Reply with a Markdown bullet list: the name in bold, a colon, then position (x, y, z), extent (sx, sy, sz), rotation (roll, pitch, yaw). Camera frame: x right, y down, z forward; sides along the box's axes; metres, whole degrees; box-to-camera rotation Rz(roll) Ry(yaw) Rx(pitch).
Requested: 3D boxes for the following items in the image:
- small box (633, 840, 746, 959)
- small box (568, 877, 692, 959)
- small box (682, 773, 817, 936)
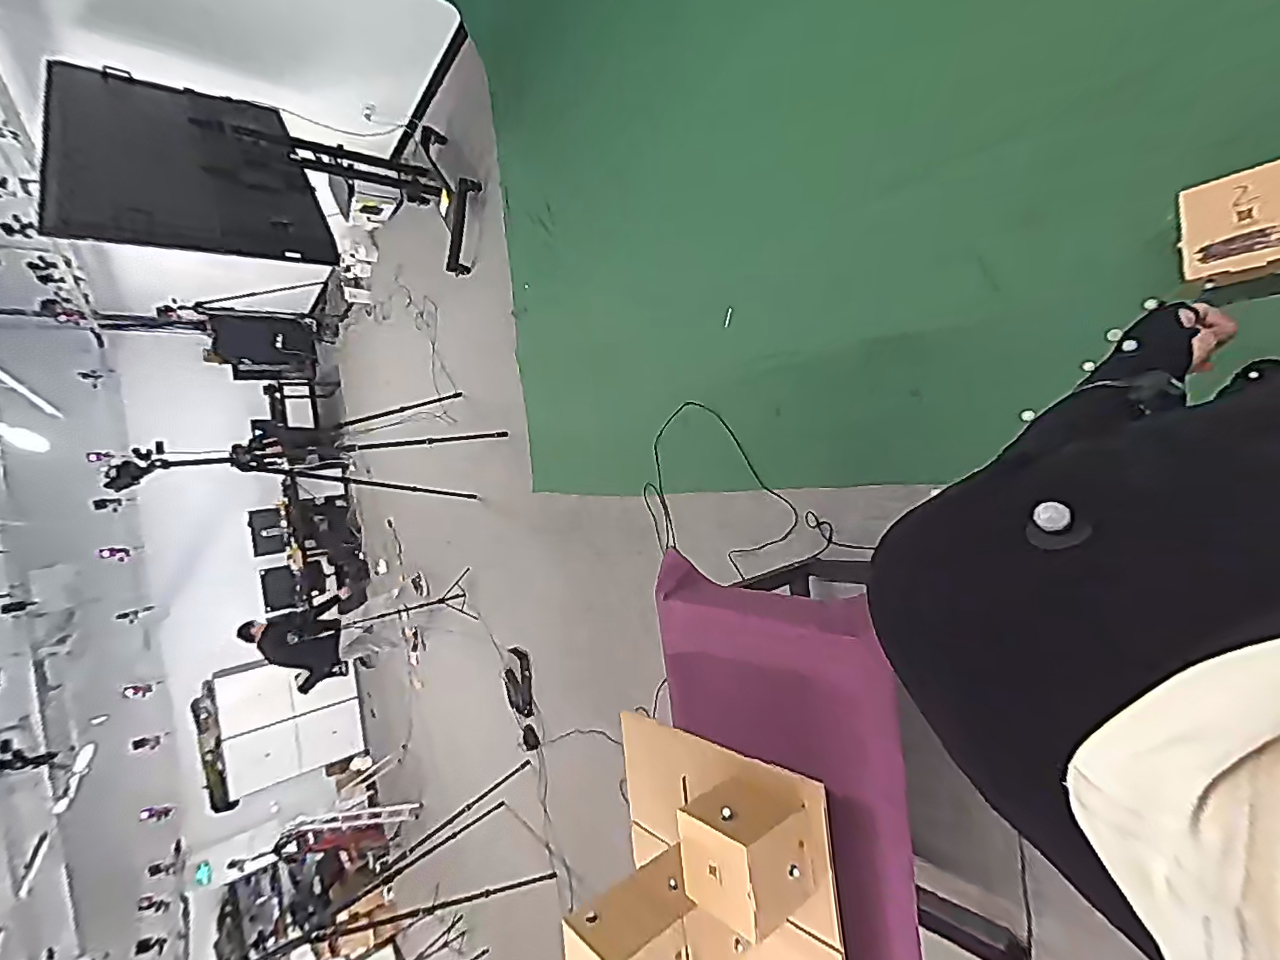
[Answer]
- **small box**: position (0.111, 0.909, 1.151), extent (0.179, 0.176, 0.168), rotation (-9, 86, 51)
- **small box**: position (-0.017, 0.921, 1.050), extent (0.179, 0.176, 0.168), rotation (-9, 87, 50)
- **small box**: position (0.204, 0.683, 1.016), extent (0.179, 0.176, 0.168), rotation (-8, 88, 50)
